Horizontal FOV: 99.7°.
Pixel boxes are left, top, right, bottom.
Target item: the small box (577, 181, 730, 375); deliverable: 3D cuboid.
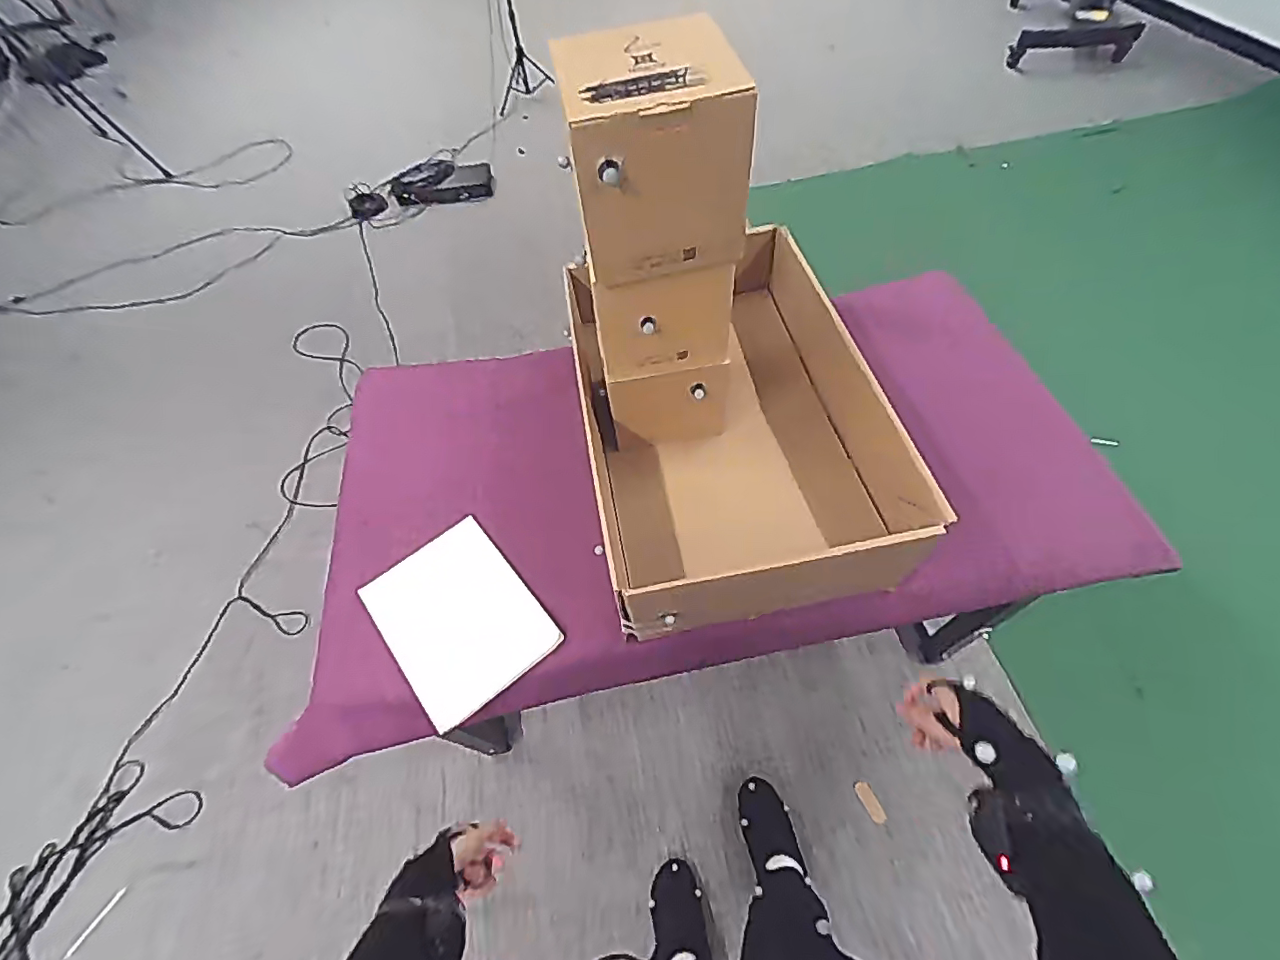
[{"bbox_3d":[0.018,-0.256,0.716,0.168,0.176,0.179,-10,57,-1],"label":"small box"}]
